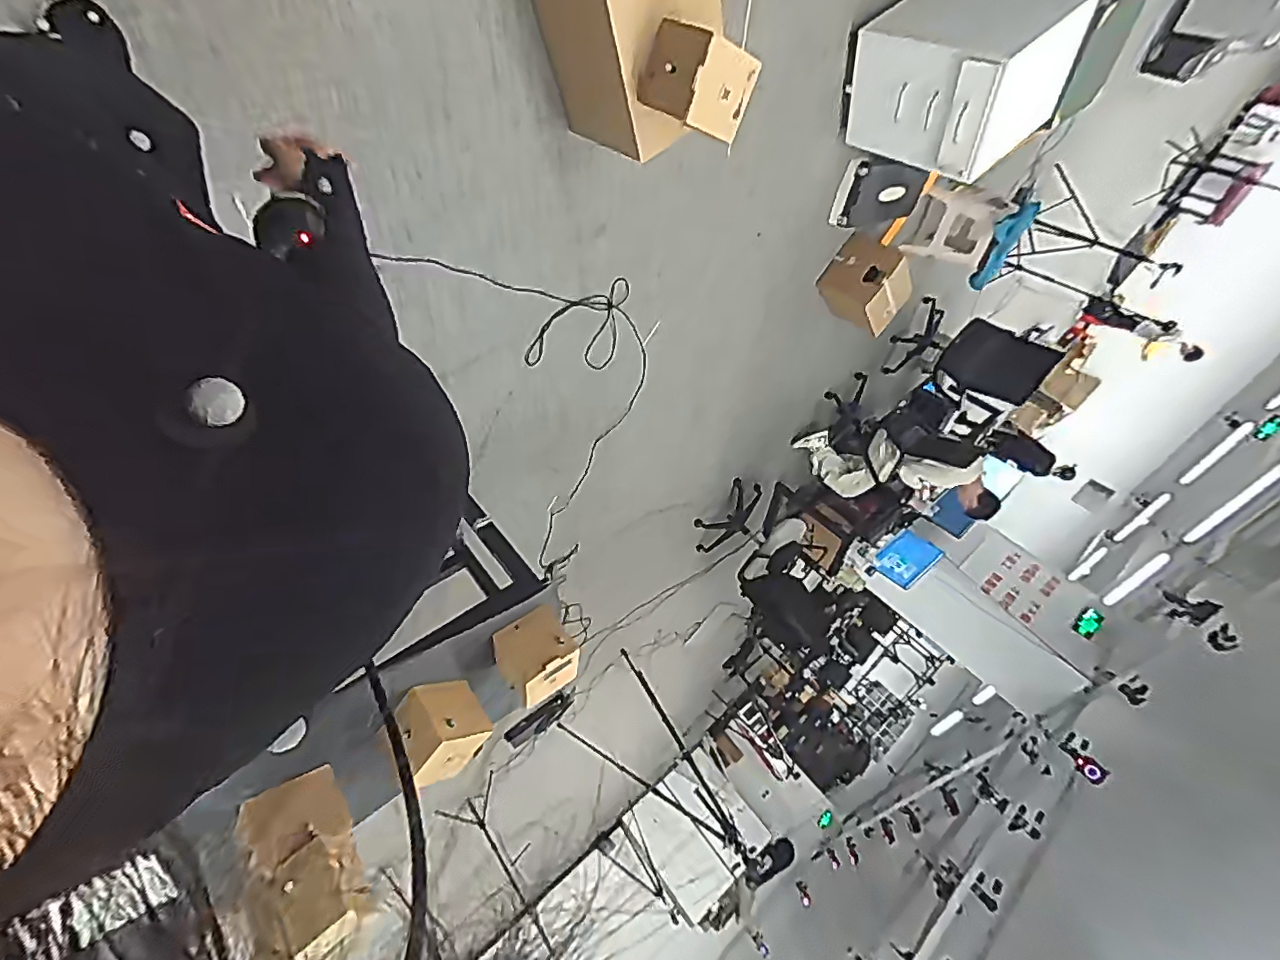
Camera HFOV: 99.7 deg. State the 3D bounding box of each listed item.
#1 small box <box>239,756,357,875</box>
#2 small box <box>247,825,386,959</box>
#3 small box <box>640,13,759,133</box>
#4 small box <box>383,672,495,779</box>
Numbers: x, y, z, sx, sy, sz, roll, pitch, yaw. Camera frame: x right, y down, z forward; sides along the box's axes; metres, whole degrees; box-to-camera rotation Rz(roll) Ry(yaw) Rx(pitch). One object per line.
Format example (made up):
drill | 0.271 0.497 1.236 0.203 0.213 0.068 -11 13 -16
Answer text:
small box | -0.777 0.774 1.223 0.179 0.176 0.168 -7 132 -51
small box | -0.672 0.862 1.131 0.168 0.176 0.179 -34 148 -24
small box | 0.128 -0.924 1.229 0.179 0.176 0.168 -11 135 -43
small box | -0.513 0.611 1.372 0.168 0.176 0.179 -51 151 8
